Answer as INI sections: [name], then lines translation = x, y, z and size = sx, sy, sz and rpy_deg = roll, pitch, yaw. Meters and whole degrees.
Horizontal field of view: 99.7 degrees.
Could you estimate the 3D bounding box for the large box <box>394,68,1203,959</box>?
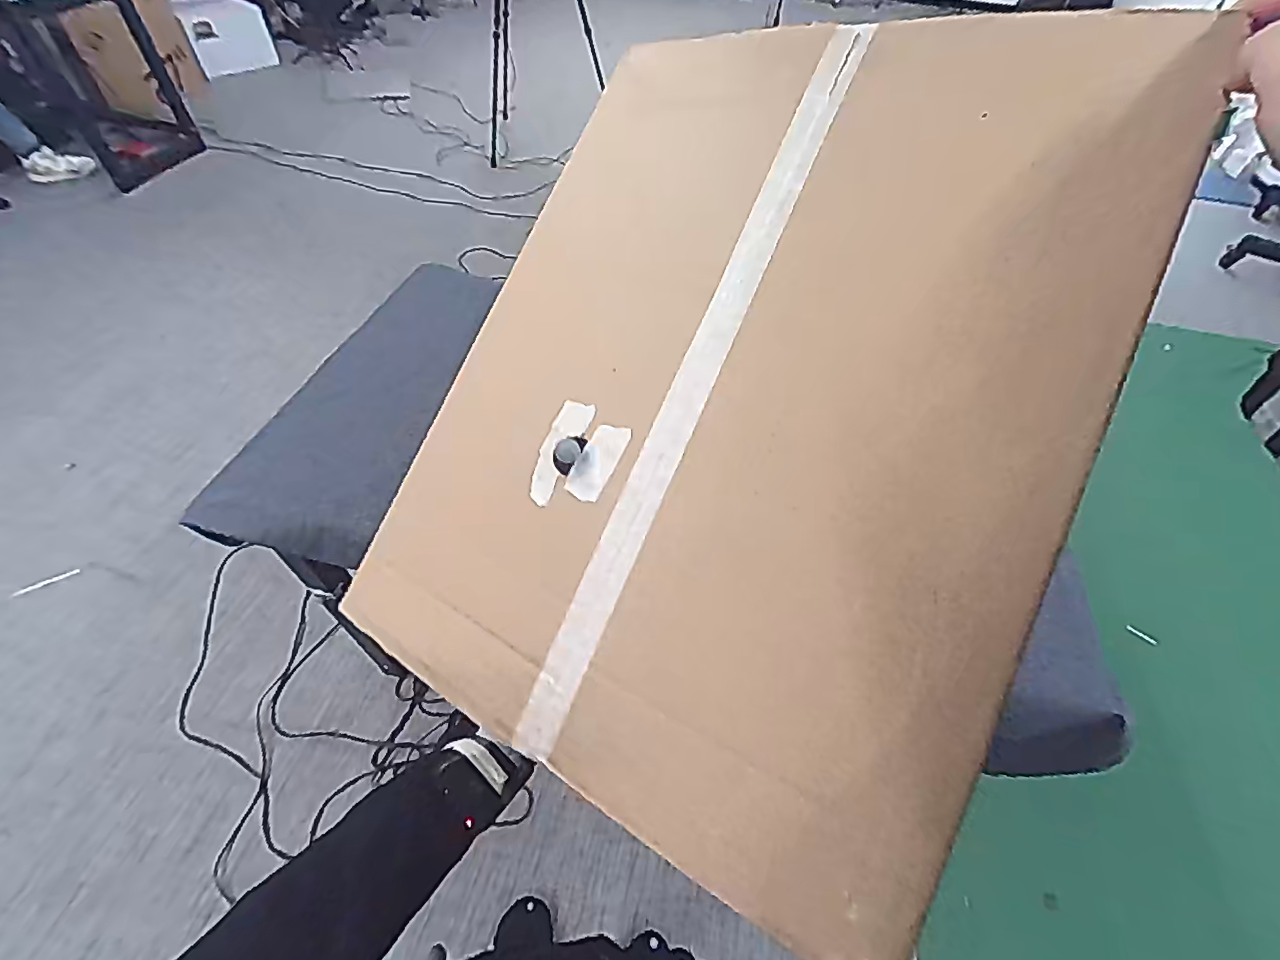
[large box]
translation = 0.105, -0.011, 0.419
size = 0.320, 0.320, 0.408
rpy_deg = 20, 84, 27
